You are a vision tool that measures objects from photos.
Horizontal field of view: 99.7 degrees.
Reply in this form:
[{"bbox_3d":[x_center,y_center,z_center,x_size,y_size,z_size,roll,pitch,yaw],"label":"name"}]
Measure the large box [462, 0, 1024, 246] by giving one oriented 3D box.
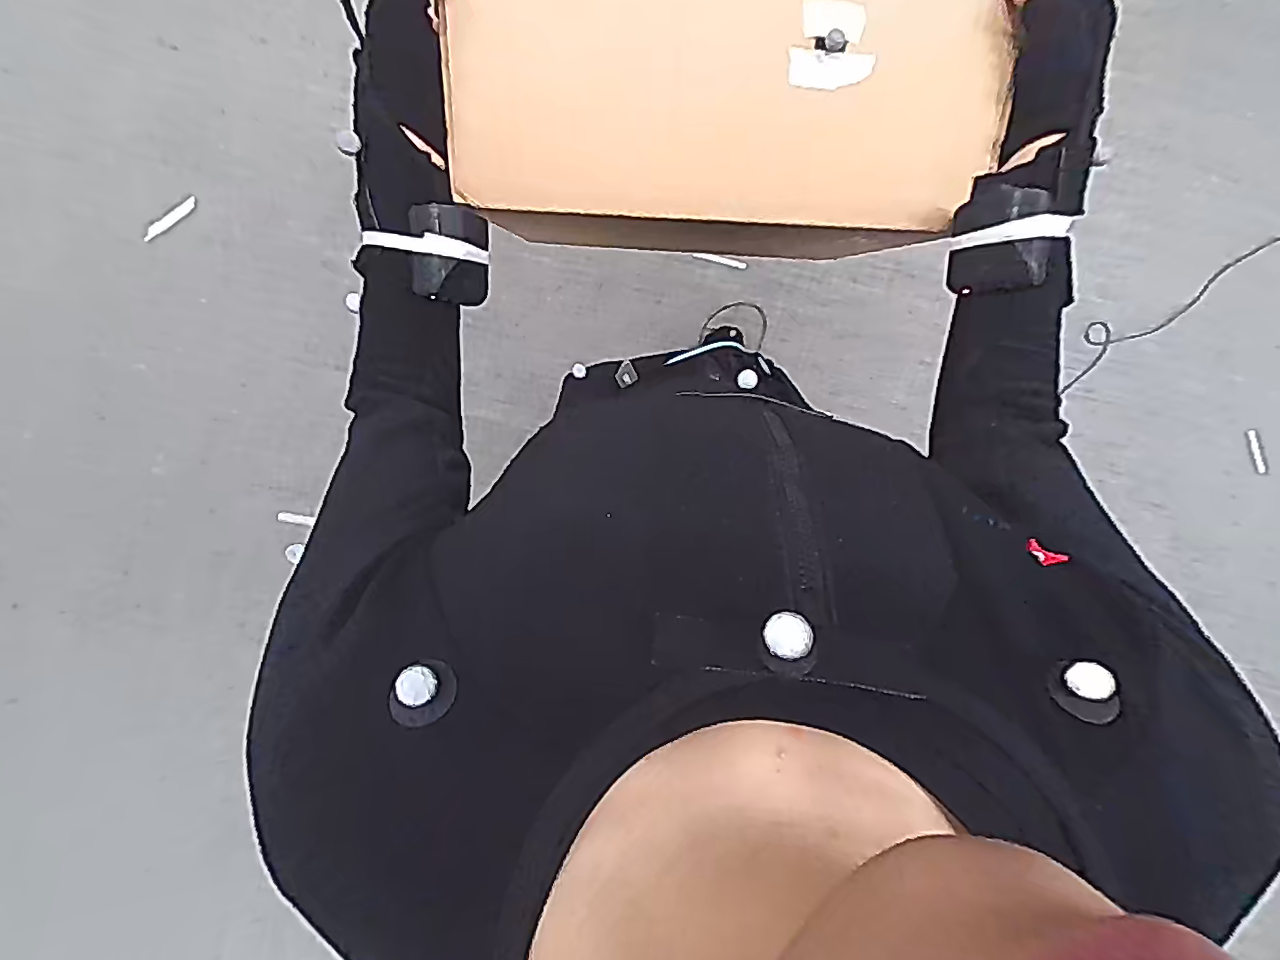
[{"bbox_3d":[0.068,-0.406,0.510,0.408,0.320,0.320,2,110,-3],"label":"large box"}]
